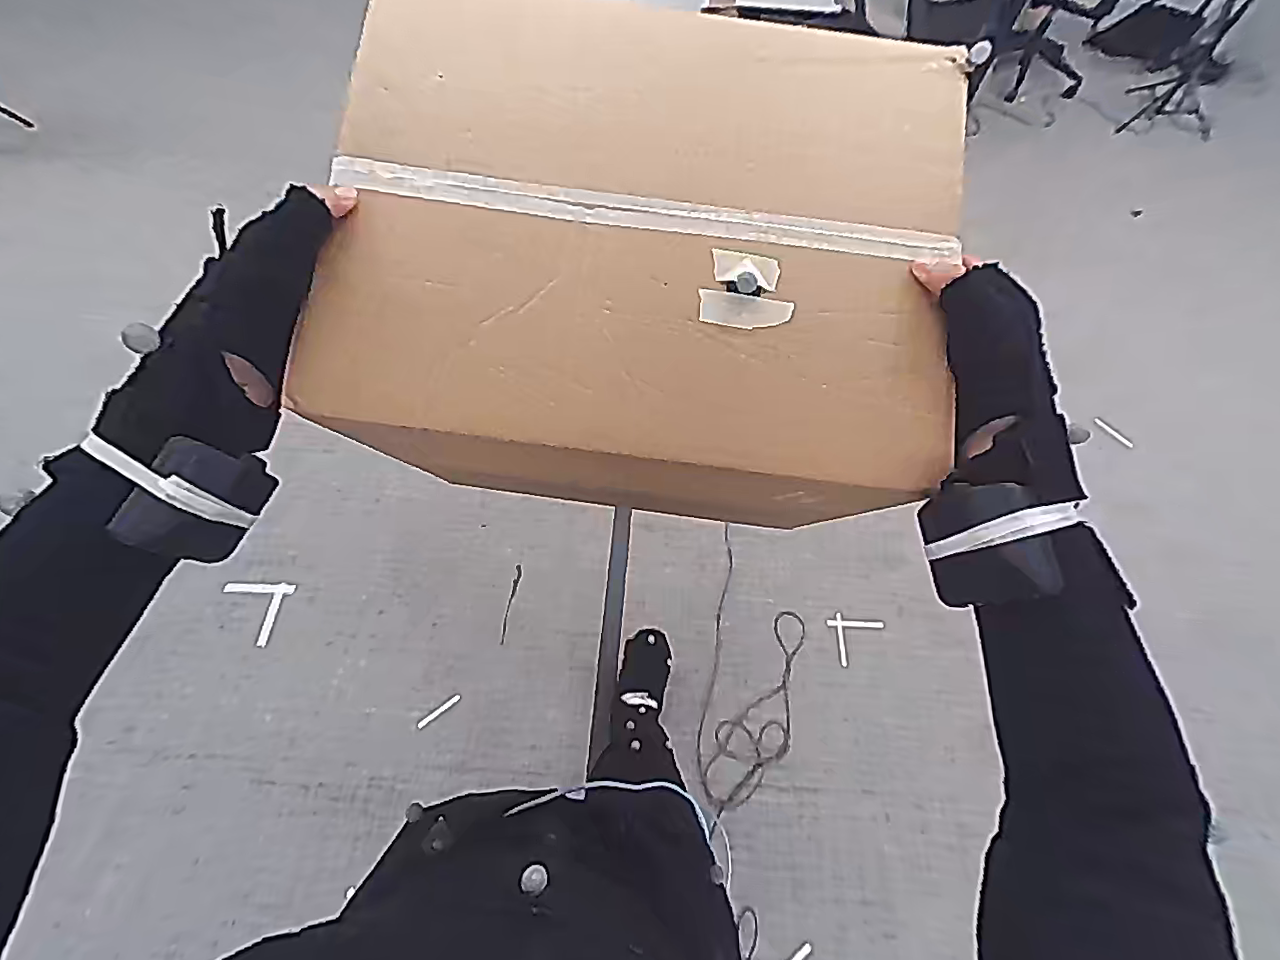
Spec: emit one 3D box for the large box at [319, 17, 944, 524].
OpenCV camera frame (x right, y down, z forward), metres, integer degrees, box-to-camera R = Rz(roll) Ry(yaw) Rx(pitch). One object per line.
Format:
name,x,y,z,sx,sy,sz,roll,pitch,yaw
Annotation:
large box,0.001,-0.141,0.515,0.408,0.320,0.320,7,82,-1
